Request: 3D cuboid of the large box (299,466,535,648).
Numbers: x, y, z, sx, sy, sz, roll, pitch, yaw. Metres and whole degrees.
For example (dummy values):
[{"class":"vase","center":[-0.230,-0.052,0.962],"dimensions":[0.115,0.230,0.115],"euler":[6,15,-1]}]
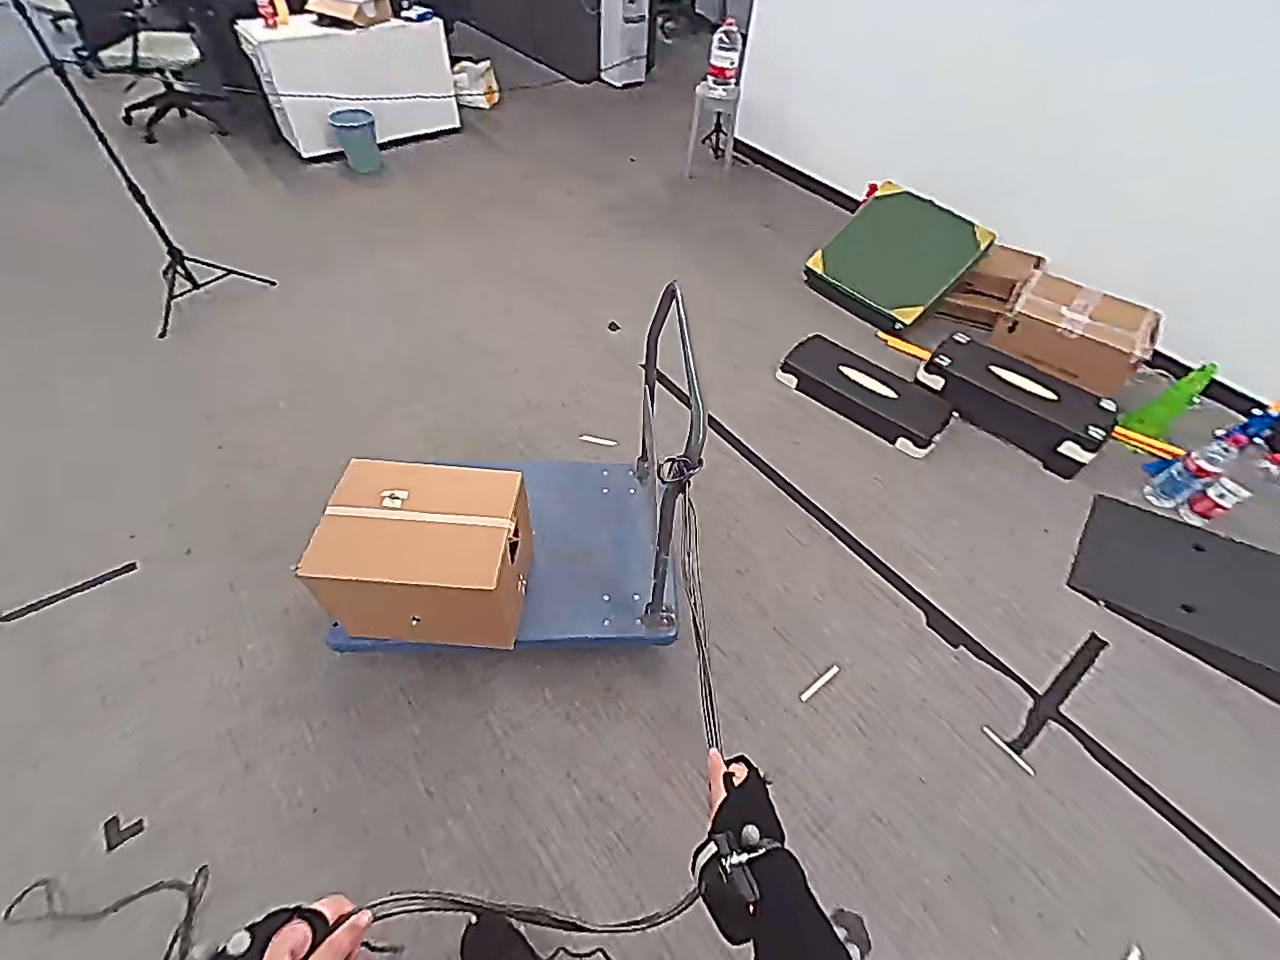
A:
[{"class":"large box","center":[-0.482,0.189,1.285],"dimensions":[0.408,0.320,0.320],"euler":[4,50,0]}]
